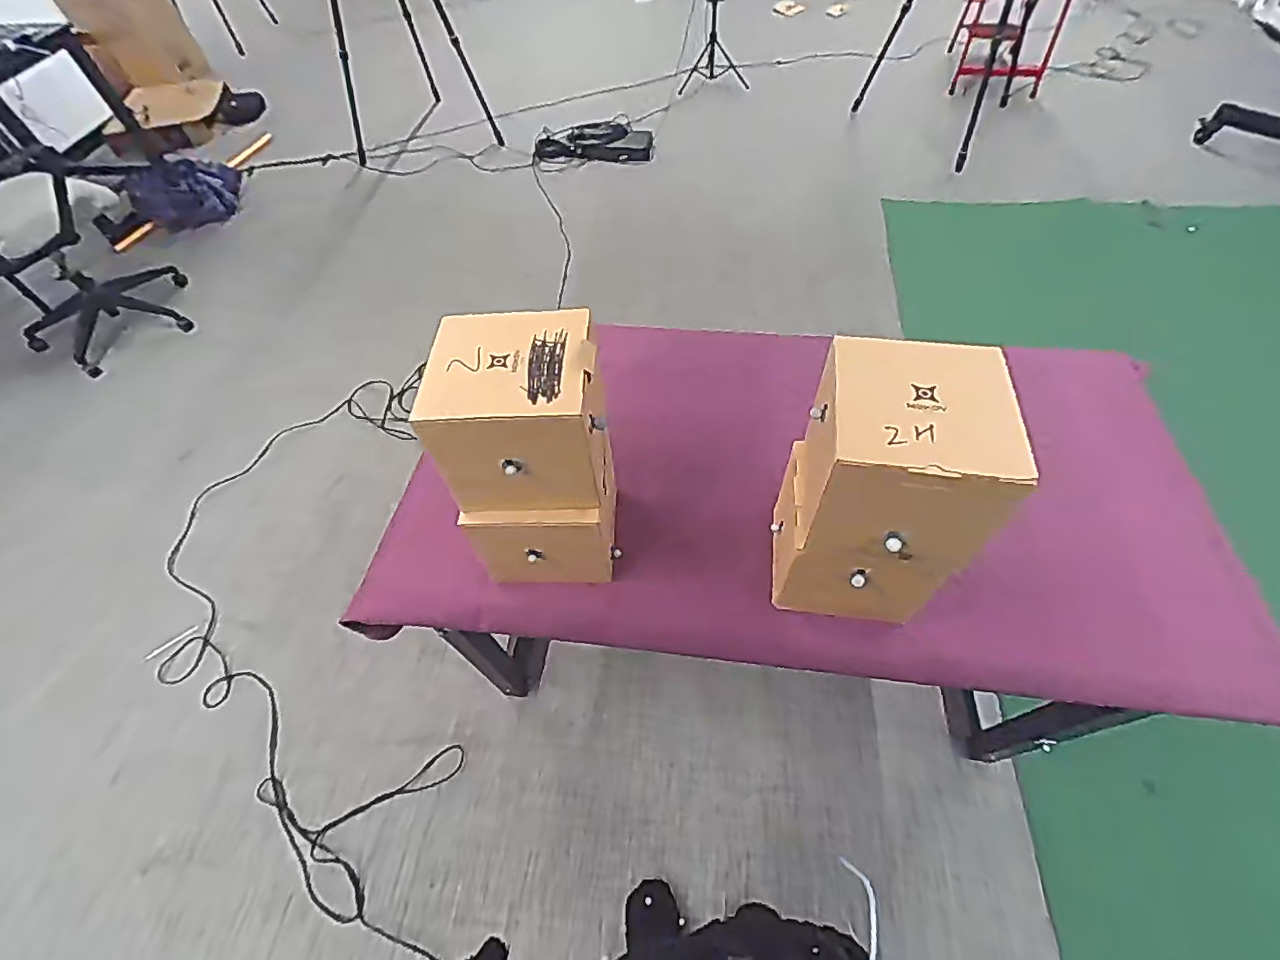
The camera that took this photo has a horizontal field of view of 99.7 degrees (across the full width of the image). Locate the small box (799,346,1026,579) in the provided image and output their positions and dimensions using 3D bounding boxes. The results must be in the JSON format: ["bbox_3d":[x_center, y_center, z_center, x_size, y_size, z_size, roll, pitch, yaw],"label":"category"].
[{"bbox_3d":[0.273,-0.017,0.588,0.168,0.176,0.179,8,55,9],"label":"small box"}]

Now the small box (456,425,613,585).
[{"bbox_3d":[-0.133,0.039,0.765,0.179,0.176,0.168,0,54,3],"label":"small box"}]

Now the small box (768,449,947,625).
[{"bbox_3d":[0.274,0.080,0.721,0.179,0.176,0.168,6,55,8],"label":"small box"}]
